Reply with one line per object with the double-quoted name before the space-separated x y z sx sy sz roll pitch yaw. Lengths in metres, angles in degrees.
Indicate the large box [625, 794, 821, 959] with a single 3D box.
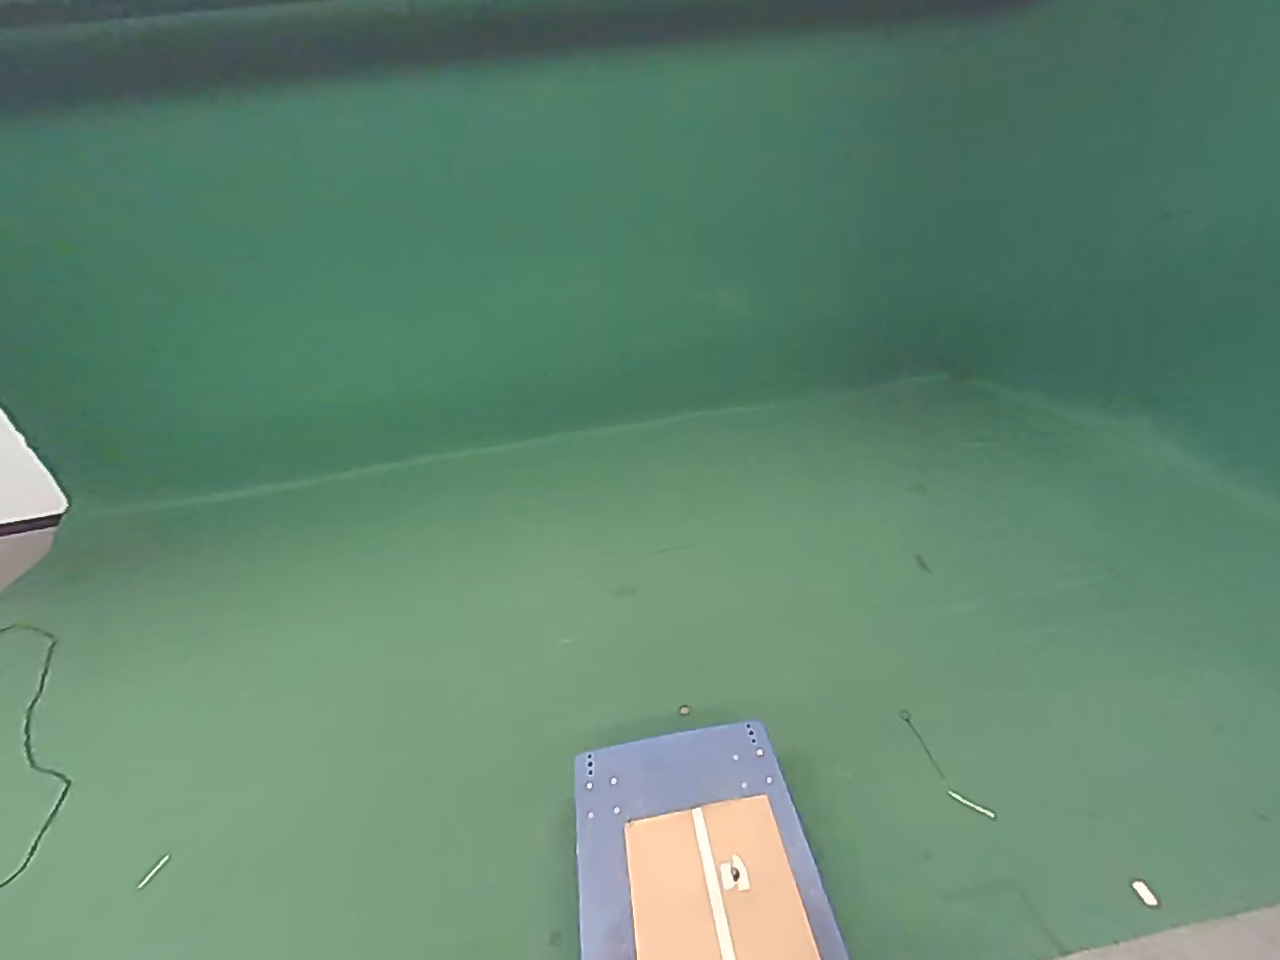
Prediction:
"large box" 0.165 0.930 1.067 0.320 0.320 0.408 -9 31 -3
